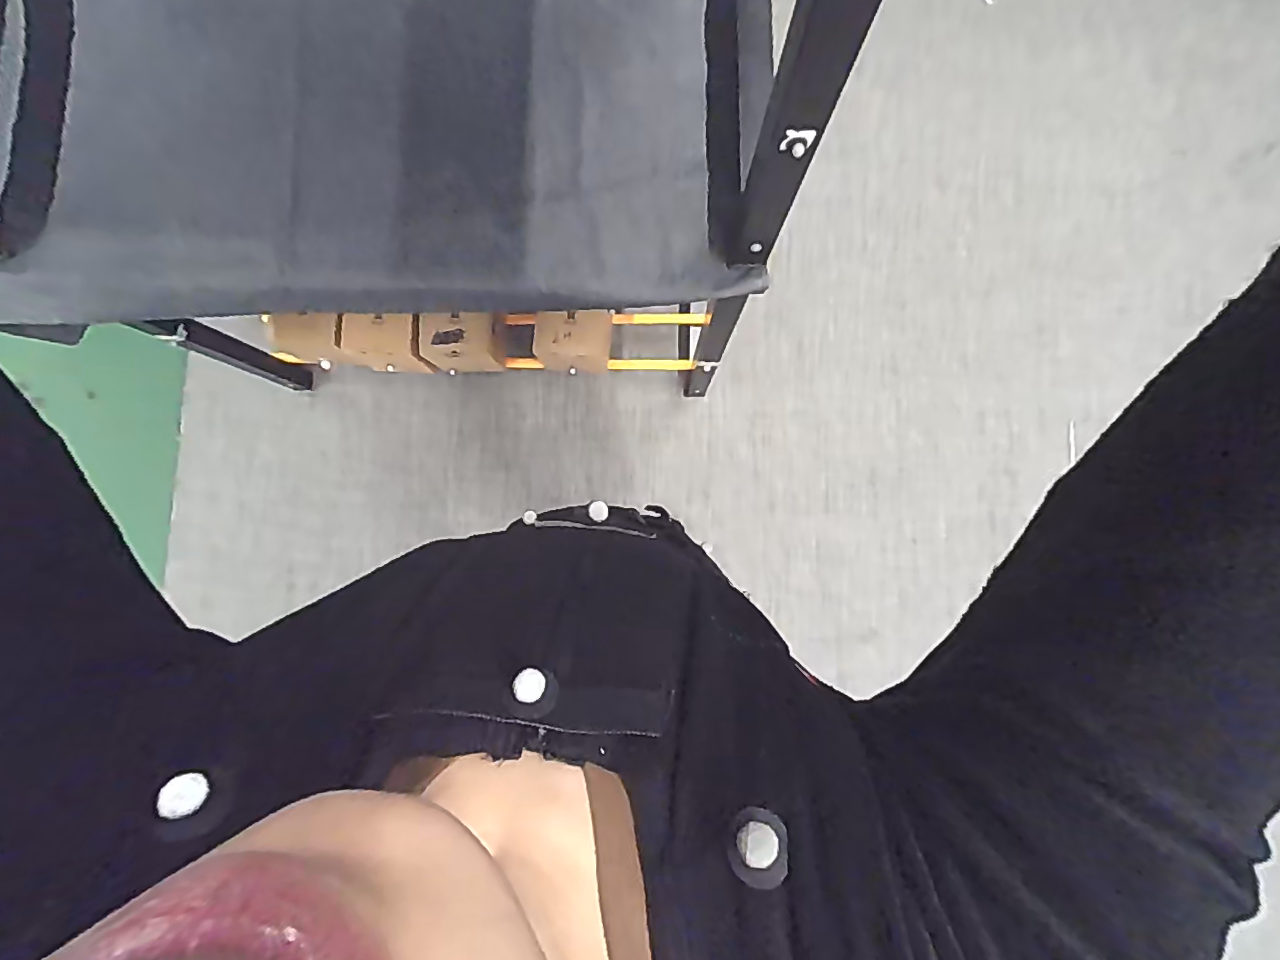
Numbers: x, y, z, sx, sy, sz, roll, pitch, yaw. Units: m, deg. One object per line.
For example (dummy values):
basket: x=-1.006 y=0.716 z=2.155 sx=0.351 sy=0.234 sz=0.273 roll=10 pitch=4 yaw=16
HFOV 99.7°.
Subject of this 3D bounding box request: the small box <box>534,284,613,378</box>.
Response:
small box: x=-0.161 y=-0.372 z=1.370 sx=0.168 sy=0.176 sz=0.179 roll=6 pitch=87 yaw=2
